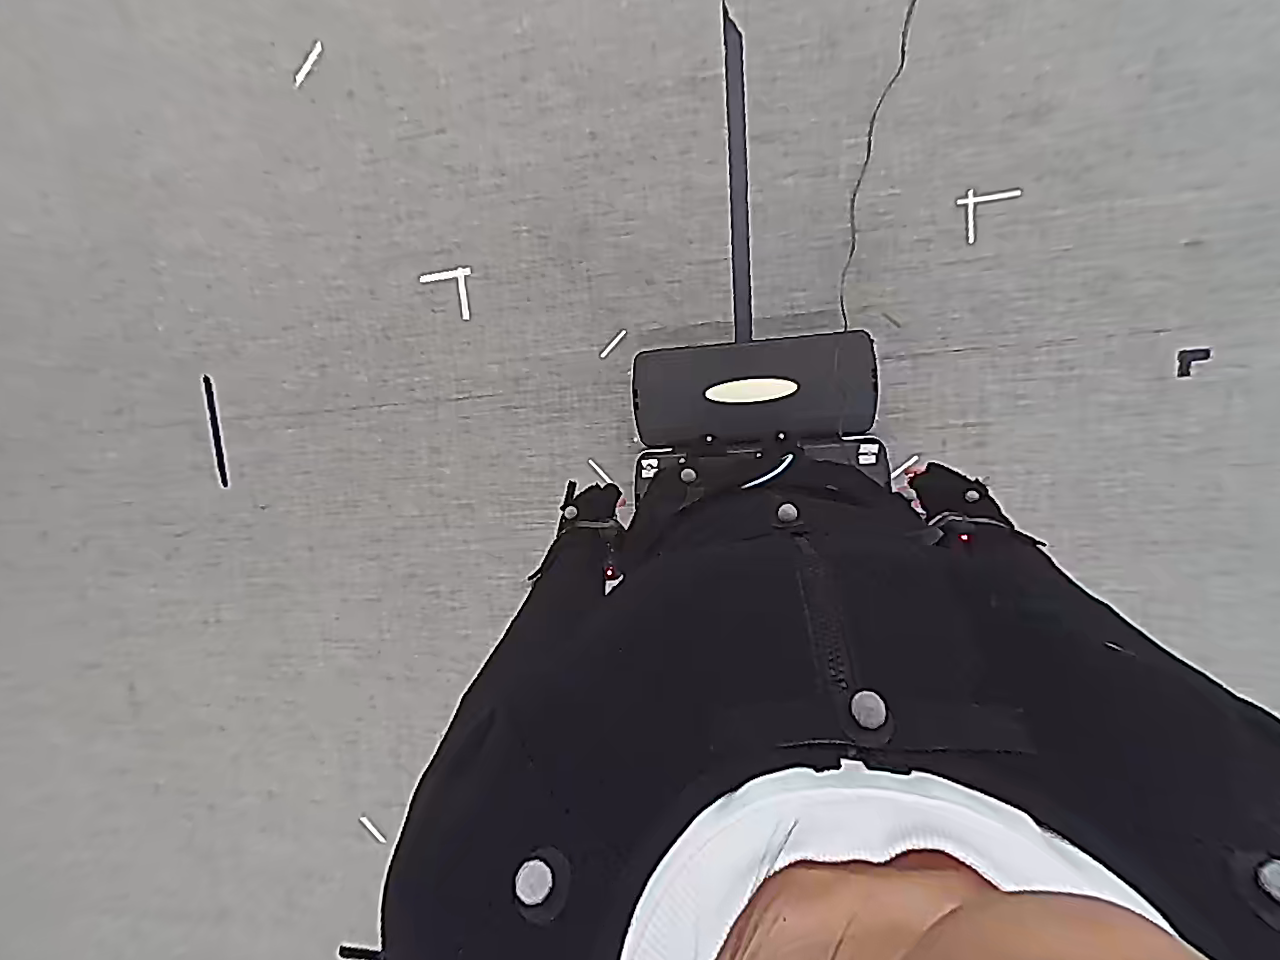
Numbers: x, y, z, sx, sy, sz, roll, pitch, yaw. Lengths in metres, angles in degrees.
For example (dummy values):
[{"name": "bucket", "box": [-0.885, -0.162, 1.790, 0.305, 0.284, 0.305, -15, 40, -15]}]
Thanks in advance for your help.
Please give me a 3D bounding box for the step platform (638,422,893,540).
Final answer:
[{"name": "step platform", "box": [0.335, 0.006, 1.516, 0.684, 0.204, 0.286, -4, 95, 11]}]
